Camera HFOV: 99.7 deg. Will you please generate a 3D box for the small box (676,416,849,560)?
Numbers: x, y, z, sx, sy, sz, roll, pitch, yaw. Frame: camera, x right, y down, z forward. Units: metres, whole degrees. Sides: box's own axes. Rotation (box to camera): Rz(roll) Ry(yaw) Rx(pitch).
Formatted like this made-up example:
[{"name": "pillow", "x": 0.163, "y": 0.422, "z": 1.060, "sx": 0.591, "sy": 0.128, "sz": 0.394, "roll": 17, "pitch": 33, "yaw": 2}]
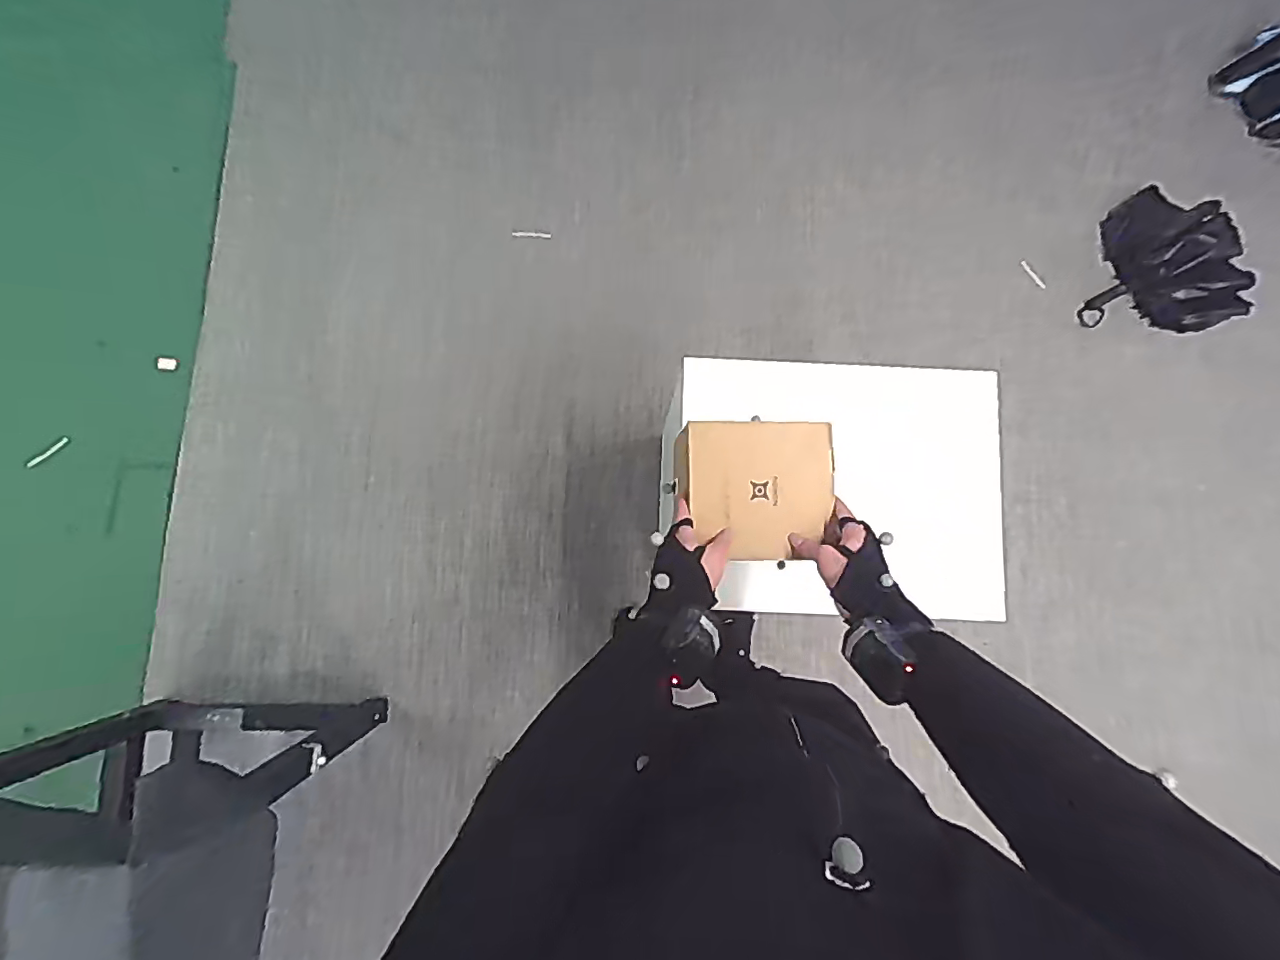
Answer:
[{"name": "small box", "x": 0.146, "y": 0.017, "z": 0.698, "sx": 0.179, "sy": 0.176, "sz": 0.168, "roll": 0, "pitch": 83, "yaw": -4}]
